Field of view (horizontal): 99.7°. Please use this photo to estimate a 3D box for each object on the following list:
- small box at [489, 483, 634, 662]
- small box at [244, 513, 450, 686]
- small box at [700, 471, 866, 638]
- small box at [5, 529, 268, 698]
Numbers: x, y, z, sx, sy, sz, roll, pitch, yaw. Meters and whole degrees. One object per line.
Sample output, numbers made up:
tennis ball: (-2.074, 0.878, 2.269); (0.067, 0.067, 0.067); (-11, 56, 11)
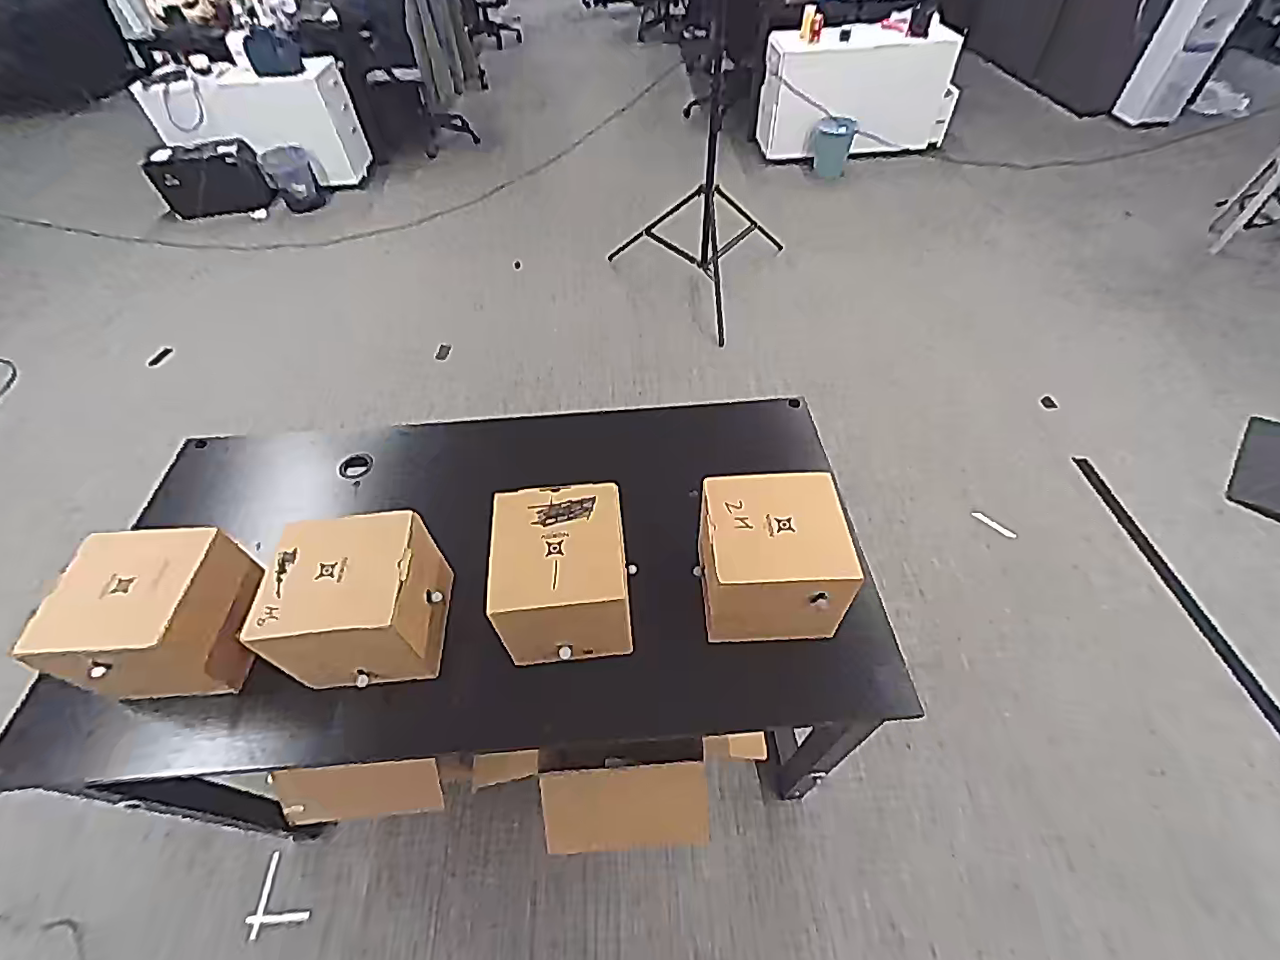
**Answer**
small box: (-0.099, 0.128, 0.740); (0.168, 0.176, 0.179); (-6, 51, -2)
small box: (-0.368, 0.163, 0.725); (0.179, 0.176, 0.168); (-5, 51, -3)
small box: (0.180, 0.105, 0.743); (0.179, 0.176, 0.168); (-3, 50, 1)
small box: (-0.631, 0.182, 0.720); (0.179, 0.176, 0.168); (-2, 51, -1)
